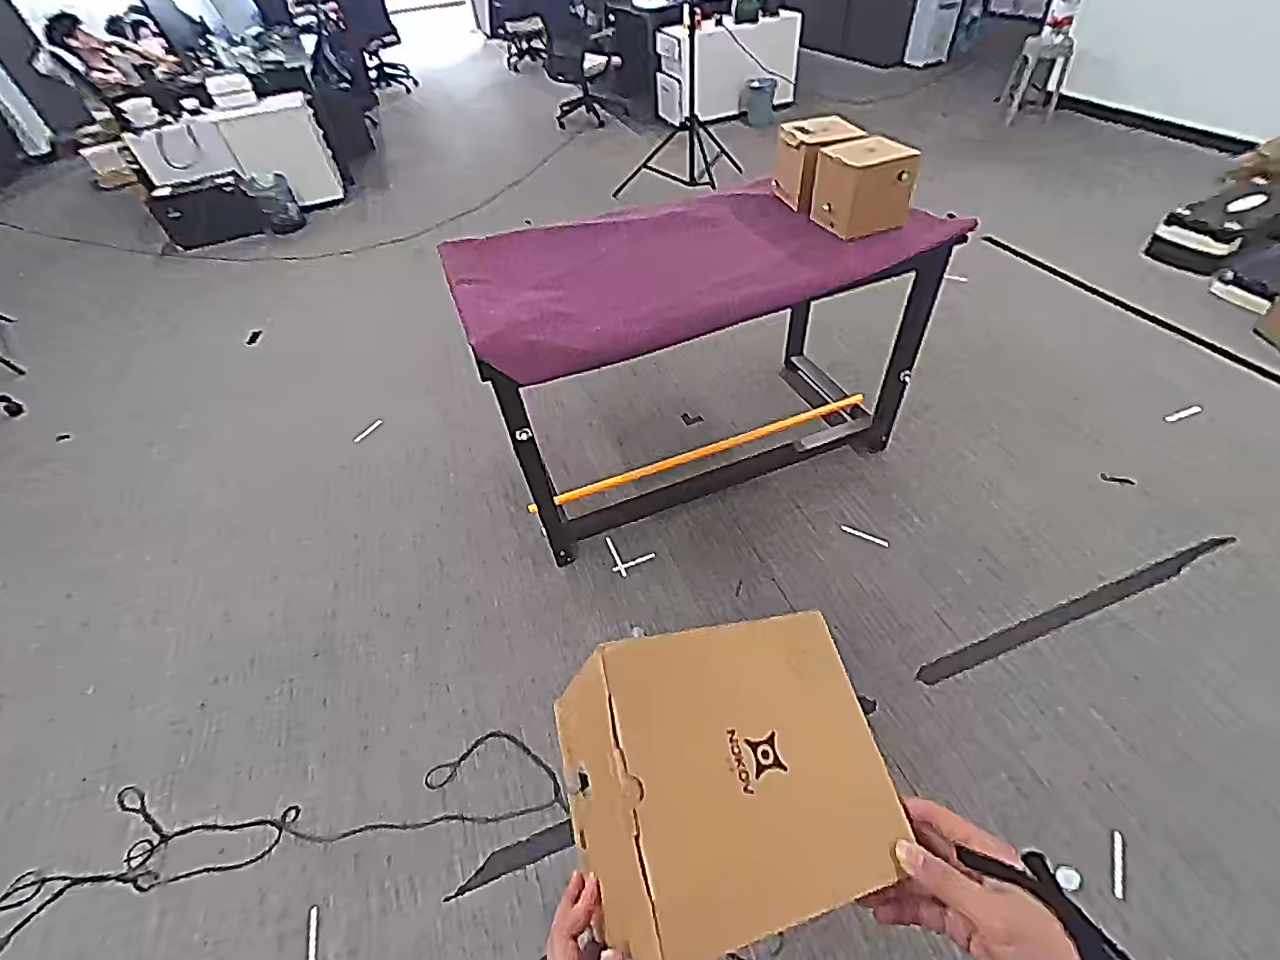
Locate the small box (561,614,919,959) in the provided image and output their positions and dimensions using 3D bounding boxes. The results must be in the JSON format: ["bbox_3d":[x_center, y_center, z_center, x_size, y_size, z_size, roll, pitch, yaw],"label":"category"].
[{"bbox_3d":[0.051,0.214,0.400,0.179,0.176,0.168,-3,58,-21],"label":"small box"}]

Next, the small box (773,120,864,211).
[{"bbox_3d":[0.479,-0.860,1.486,0.179,0.176,0.168,-14,50,-8],"label":"small box"}]

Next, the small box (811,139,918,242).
[{"bbox_3d":[0.552,-0.725,1.357,0.179,0.176,0.168,-18,47,-9],"label":"small box"}]
